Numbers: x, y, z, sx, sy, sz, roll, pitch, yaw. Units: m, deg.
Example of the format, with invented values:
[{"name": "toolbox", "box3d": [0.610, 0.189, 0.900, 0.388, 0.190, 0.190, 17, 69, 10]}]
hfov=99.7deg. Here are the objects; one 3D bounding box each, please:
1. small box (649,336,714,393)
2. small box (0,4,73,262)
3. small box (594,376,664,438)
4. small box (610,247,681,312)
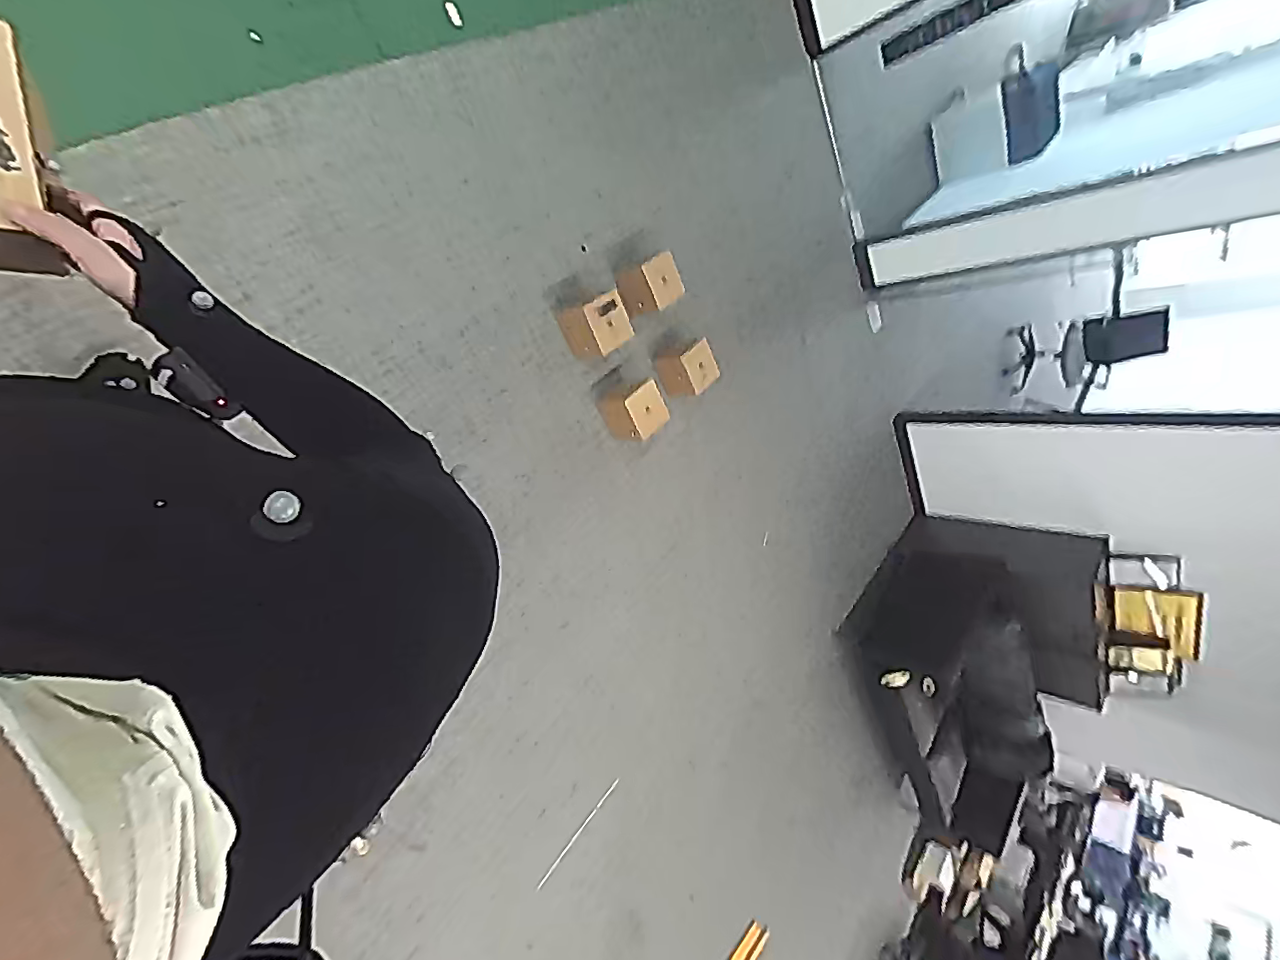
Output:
[{"name": "small box", "box3d": [0.166, -0.463, 2.198, 0.168, 0.176, 0.179, -44, 122, -29]}, {"name": "small box", "box3d": [-0.611, -0.291, 0.443, 0.179, 0.176, 0.168, -6, 99, -40]}, {"name": "small box", "box3d": [-0.044, -0.274, 2.039, 0.168, 0.176, 0.179, -45, 123, -29]}, {"name": "small box", "box3d": [0.019, -0.744, 2.031, 0.168, 0.176, 0.179, -44, 122, -30]}]
